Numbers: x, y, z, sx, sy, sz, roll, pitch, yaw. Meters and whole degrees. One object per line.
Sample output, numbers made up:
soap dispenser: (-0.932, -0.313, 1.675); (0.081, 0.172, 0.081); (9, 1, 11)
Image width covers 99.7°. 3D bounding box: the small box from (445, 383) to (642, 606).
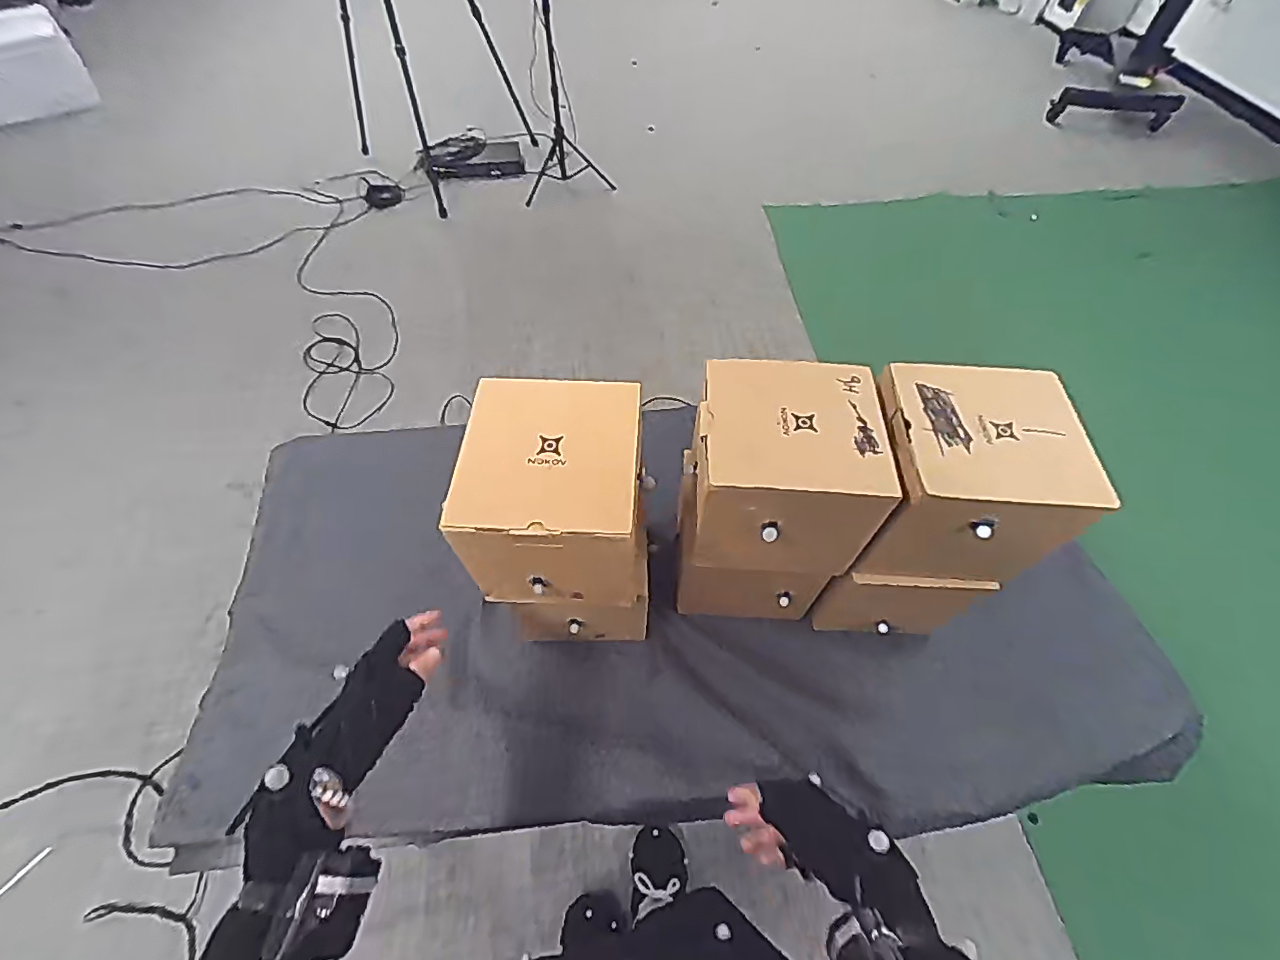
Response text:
small box: (-0.085, 0.019, 0.576); (0.168, 0.176, 0.179); (2, 58, 1)
